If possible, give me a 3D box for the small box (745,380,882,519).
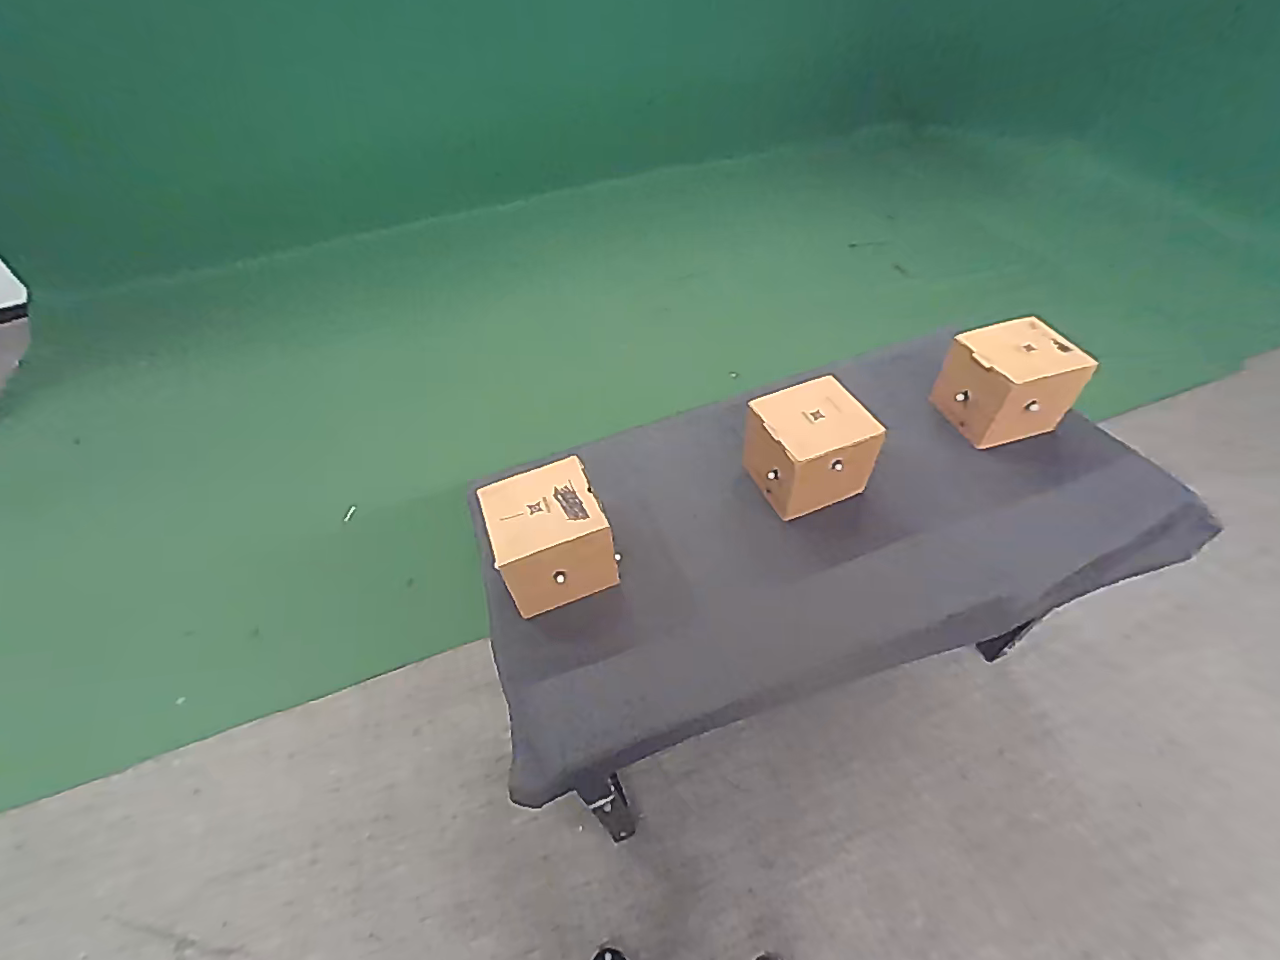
[{"bbox_3d":[0.306,-0.053,1.002,0.179,0.176,0.168,-18,51,-12],"label":"small box"}]

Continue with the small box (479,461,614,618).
[{"bbox_3d":[-0.149,0.102,0.909,0.179,0.176,0.168,-20,50,-11],"label":"small box"}]

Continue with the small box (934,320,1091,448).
[{"bbox_3d":[0.716,-0.186,1.072,0.179,0.176,0.168,-15,50,-6],"label":"small box"}]
